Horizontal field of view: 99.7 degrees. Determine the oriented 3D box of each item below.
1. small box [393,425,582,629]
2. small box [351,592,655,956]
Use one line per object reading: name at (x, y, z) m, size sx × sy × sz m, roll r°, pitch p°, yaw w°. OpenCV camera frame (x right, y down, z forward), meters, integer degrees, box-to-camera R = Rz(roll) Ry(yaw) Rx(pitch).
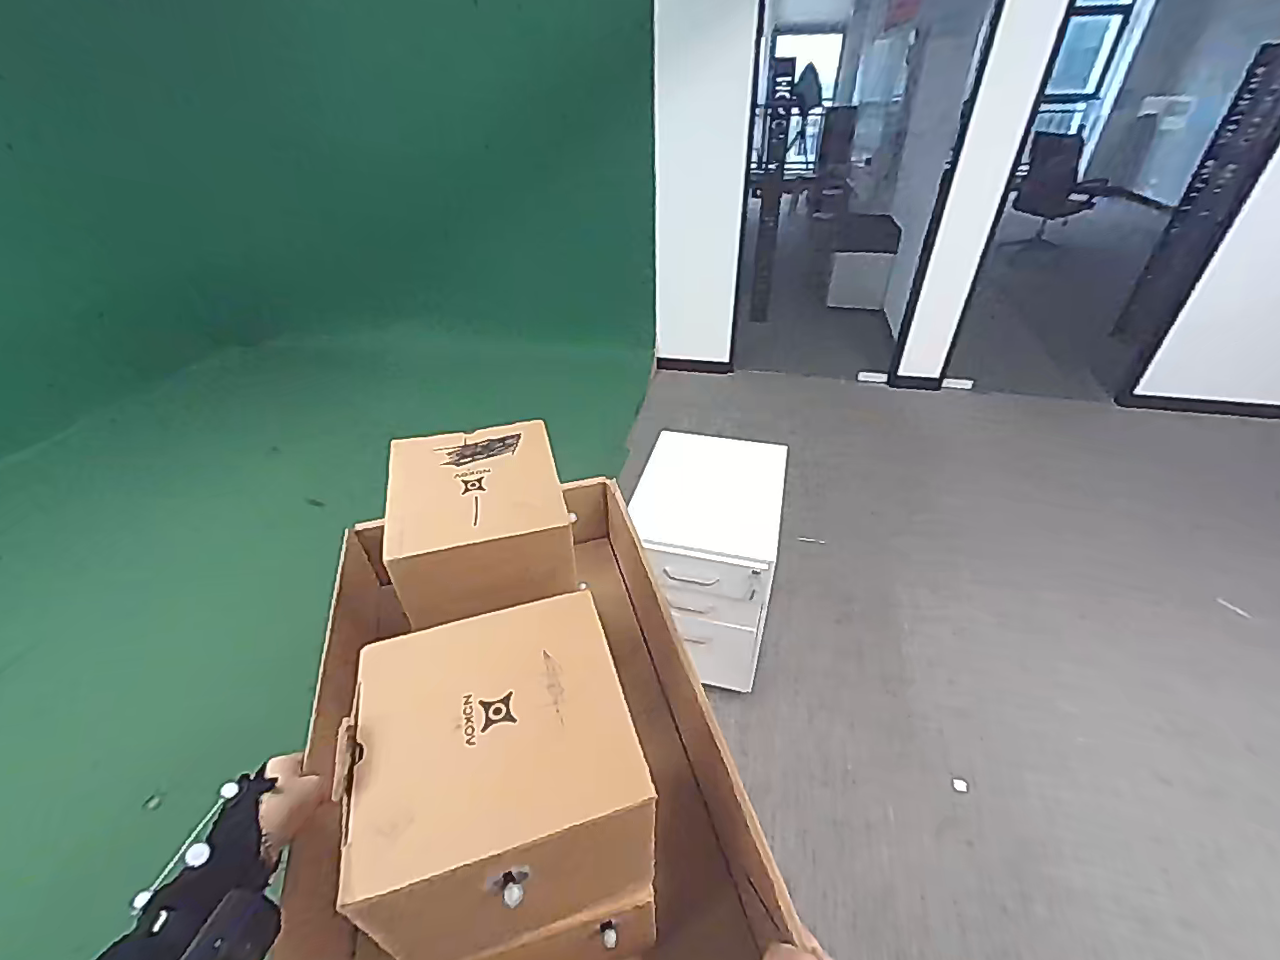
small box at (-0.161, 0.064, 0.600) m, size 0.168 × 0.176 × 0.179 m, roll -10°, pitch 43°, yaw -12°
small box at (-0.094, 0.218, 0.414) m, size 0.179 × 0.176 × 0.168 m, roll -11°, pitch 40°, yaw -15°
